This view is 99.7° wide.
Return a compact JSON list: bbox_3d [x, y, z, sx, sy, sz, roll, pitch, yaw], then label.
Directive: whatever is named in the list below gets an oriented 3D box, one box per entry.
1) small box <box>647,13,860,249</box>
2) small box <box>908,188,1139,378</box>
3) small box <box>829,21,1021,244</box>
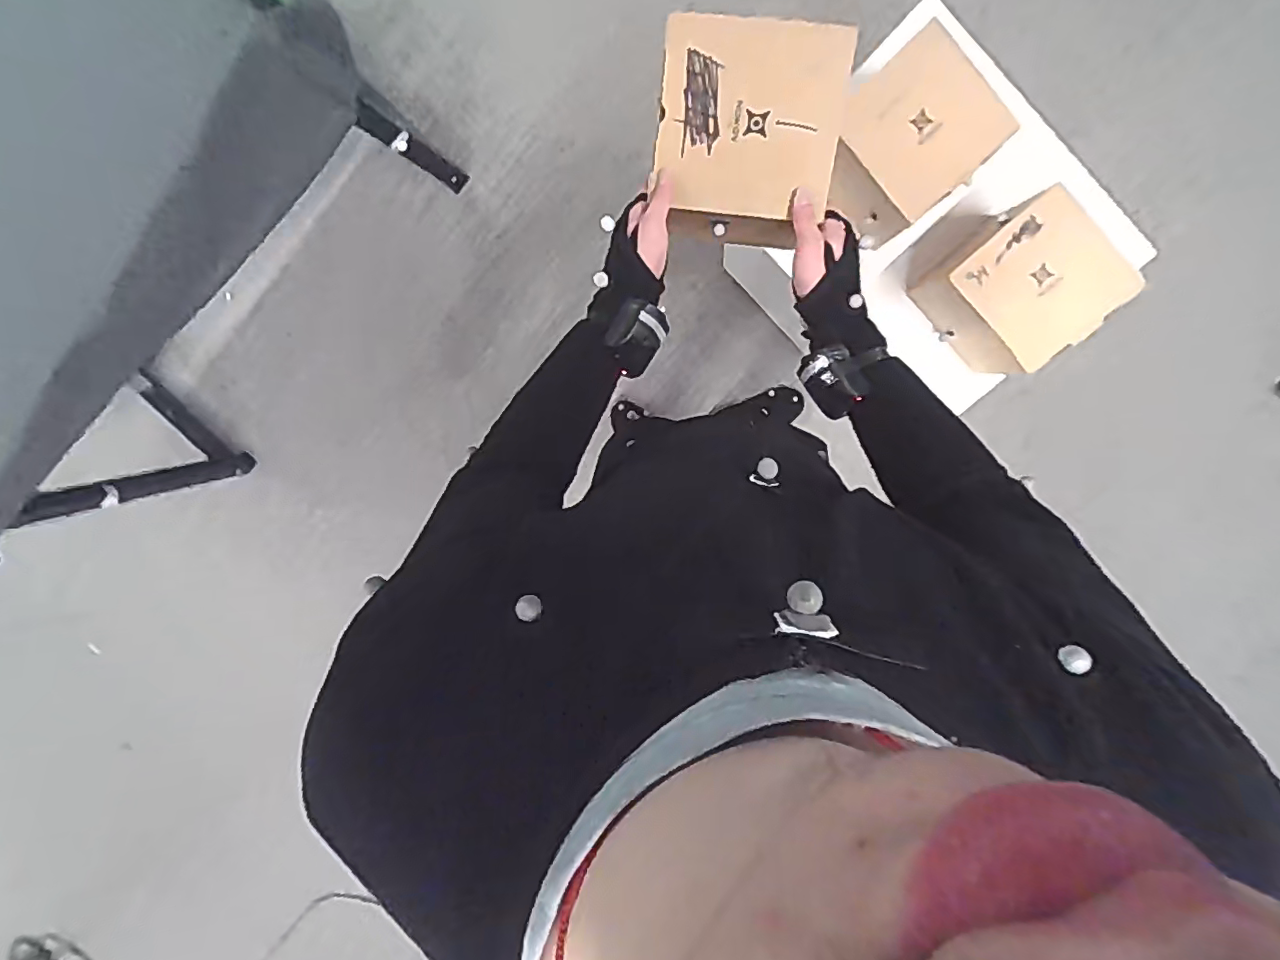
[{"bbox_3d":[0.107,-0.354,0.581,0.179,0.176,0.168,7,106,2],"label":"small box"},{"bbox_3d":[0.527,-0.268,0.771,0.168,0.176,0.179,-41,95,13],"label":"small box"},{"bbox_3d":[0.362,-0.455,0.750,0.168,0.176,0.179,-42,95,12],"label":"small box"}]
